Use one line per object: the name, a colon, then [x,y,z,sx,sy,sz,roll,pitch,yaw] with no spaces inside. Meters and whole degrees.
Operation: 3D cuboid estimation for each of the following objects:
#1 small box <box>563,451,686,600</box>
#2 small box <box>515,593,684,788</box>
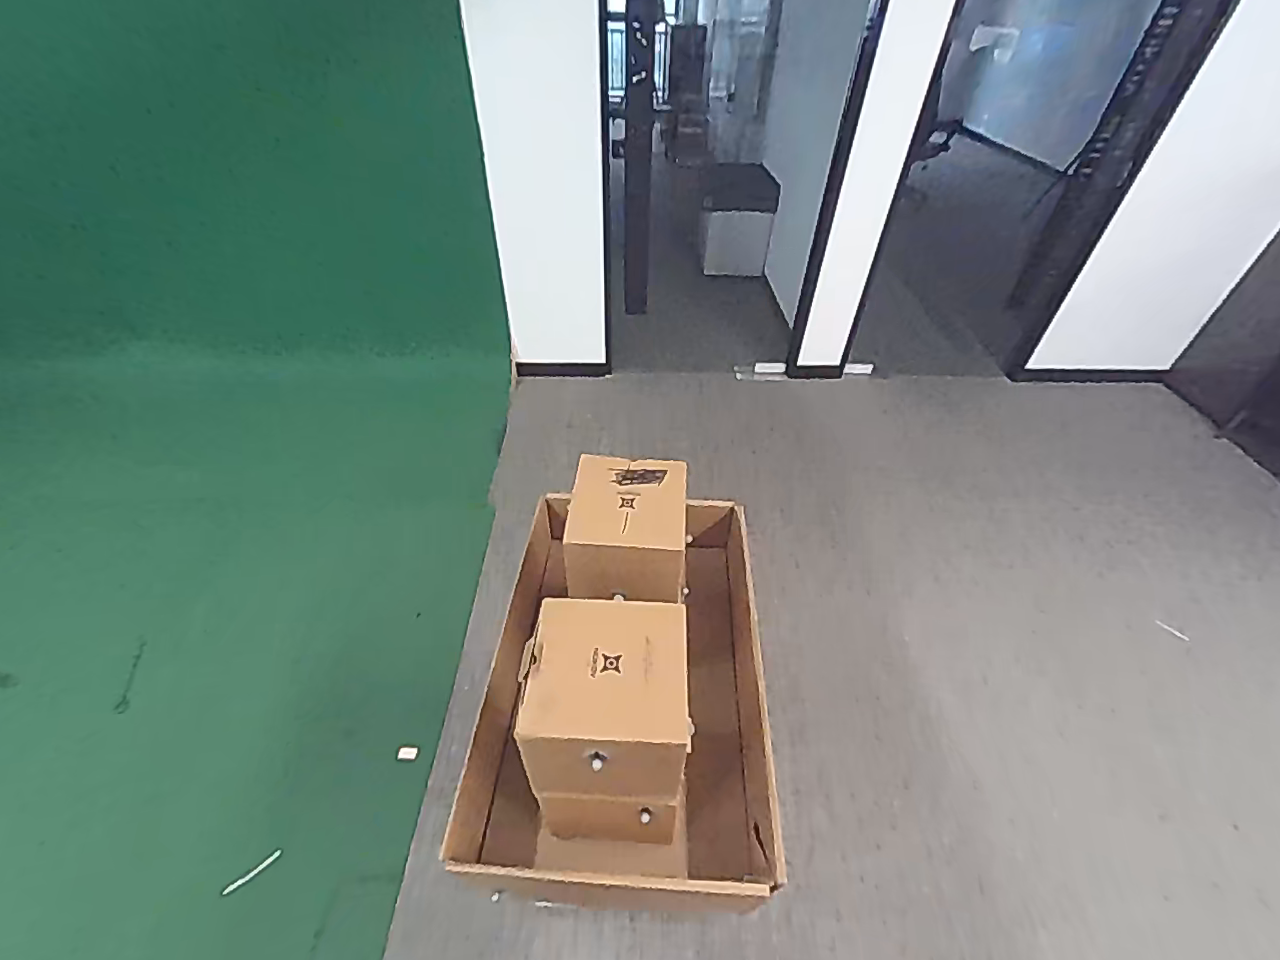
small box: [-0.021,0.080,0.839,0.168,0.176,0.179,5,46,2]
small box: [-0.040,0.257,0.658,0.179,0.176,0.168,3,44,0]
